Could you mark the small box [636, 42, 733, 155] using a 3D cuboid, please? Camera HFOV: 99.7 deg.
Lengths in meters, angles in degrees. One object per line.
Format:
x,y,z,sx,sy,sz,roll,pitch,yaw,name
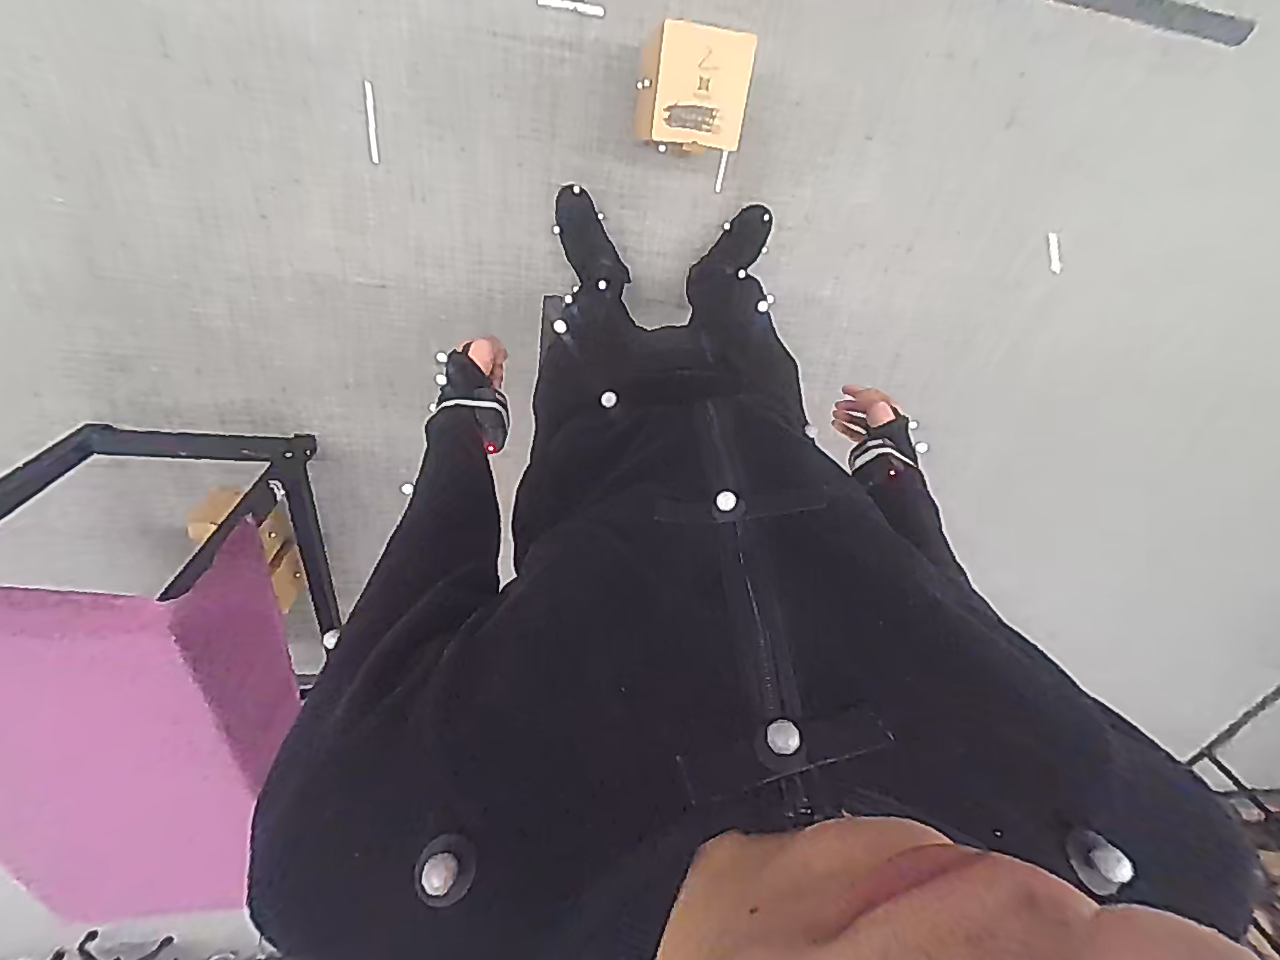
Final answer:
0.086,-0.815,1.165,0.168,0.176,0.179,0,124,-8,small box
